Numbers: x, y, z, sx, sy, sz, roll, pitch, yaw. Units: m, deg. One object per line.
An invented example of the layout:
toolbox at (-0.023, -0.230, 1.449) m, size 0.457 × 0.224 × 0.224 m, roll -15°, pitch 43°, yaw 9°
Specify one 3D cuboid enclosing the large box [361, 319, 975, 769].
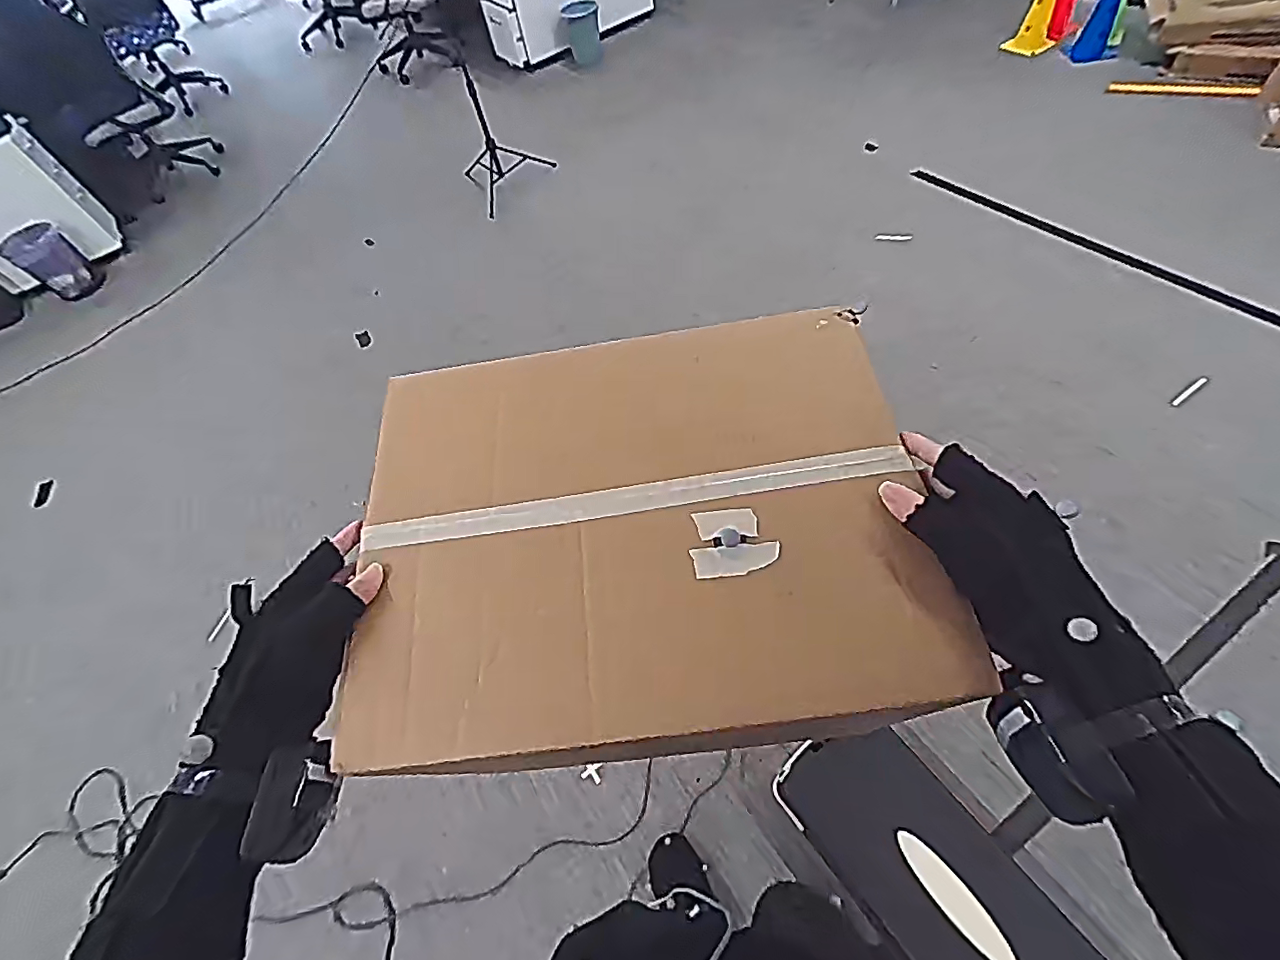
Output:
large box at (0.012, 0.090, 0.542) m, size 0.408 × 0.320 × 0.320 m, roll -8°, pitch 62°, yaw 2°
